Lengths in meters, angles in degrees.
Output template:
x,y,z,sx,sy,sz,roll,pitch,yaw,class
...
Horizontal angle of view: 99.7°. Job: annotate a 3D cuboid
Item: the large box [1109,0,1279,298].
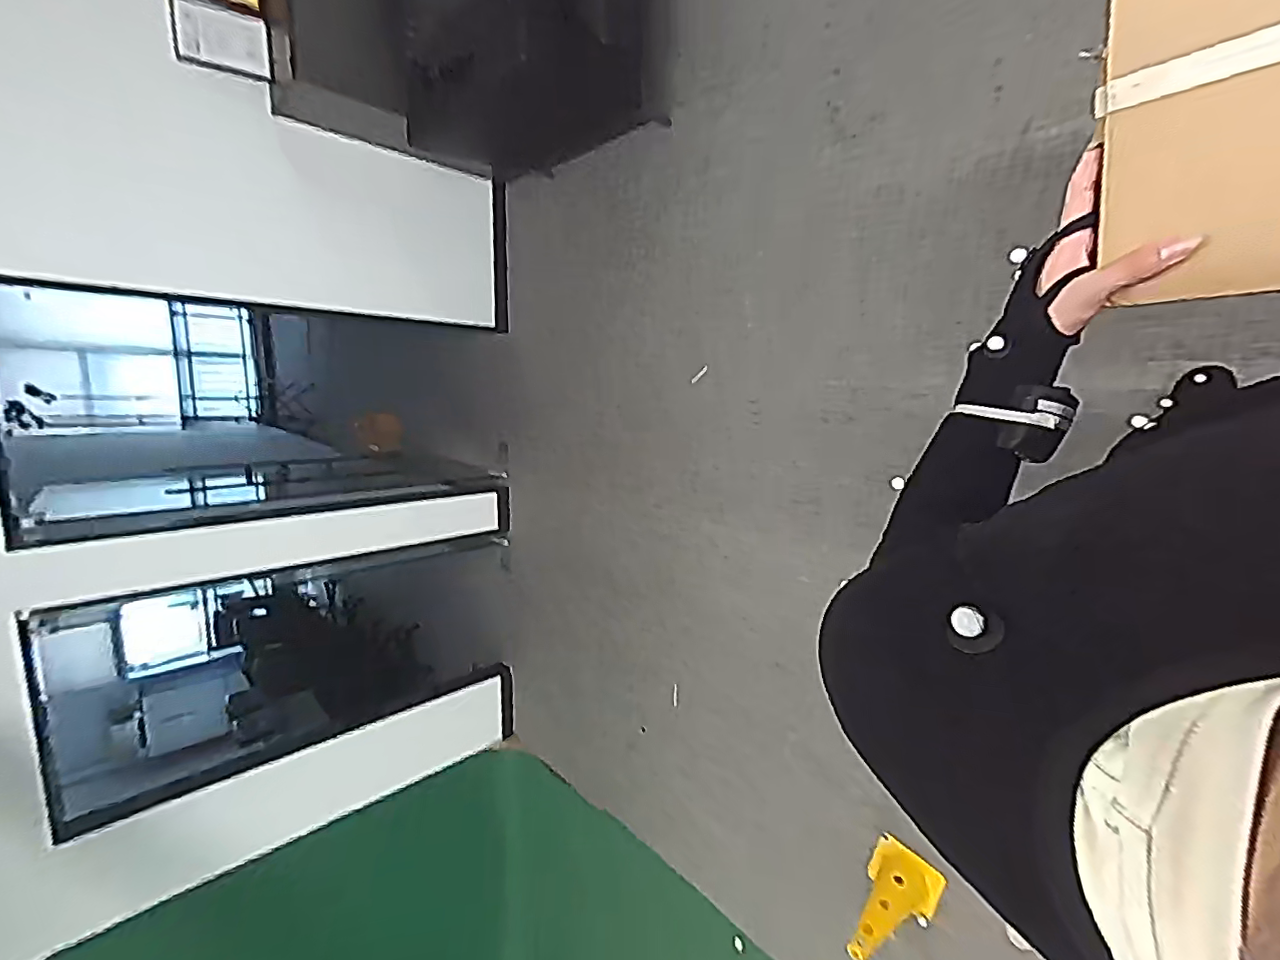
x,y,z,sx,sy,sz,roll,pitch,yaw,class
0.602,-0.331,0.367,0.408,0.320,0.320,6,114,46,large box
